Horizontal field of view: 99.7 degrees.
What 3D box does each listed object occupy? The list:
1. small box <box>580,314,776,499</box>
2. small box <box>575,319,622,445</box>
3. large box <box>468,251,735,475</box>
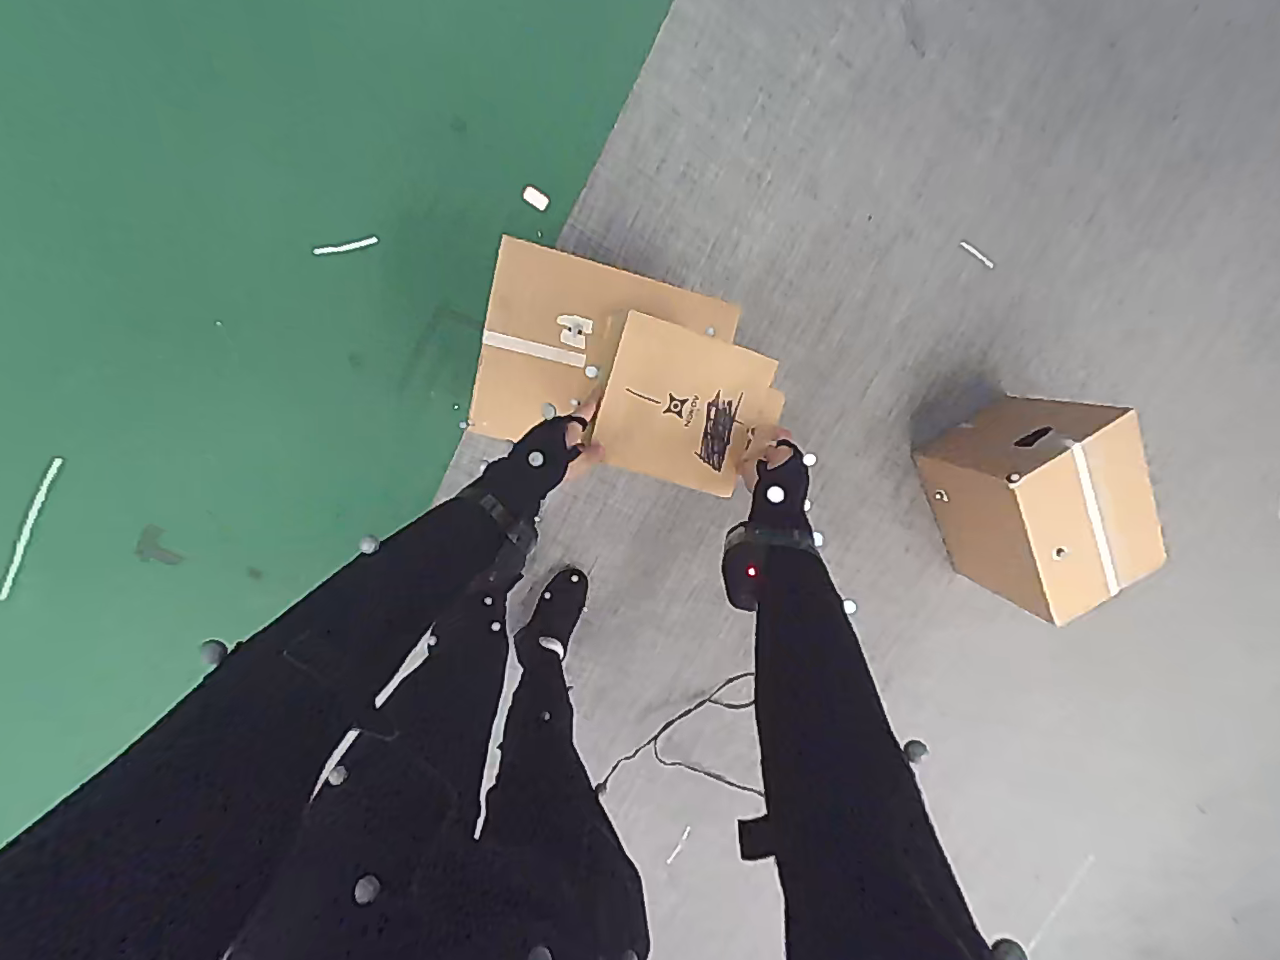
[{"bbox_3d":[0.033,-0.093,0.664,0.179,0.176,0.168,15,100,-11],"label":"small box"},{"bbox_3d":[0.000,-0.132,0.822,0.168,0.176,0.179,12,100,-14],"label":"small box"},{"bbox_3d":[-0.083,-0.206,1.044,0.408,0.320,0.320,12,99,-12],"label":"large box"}]
